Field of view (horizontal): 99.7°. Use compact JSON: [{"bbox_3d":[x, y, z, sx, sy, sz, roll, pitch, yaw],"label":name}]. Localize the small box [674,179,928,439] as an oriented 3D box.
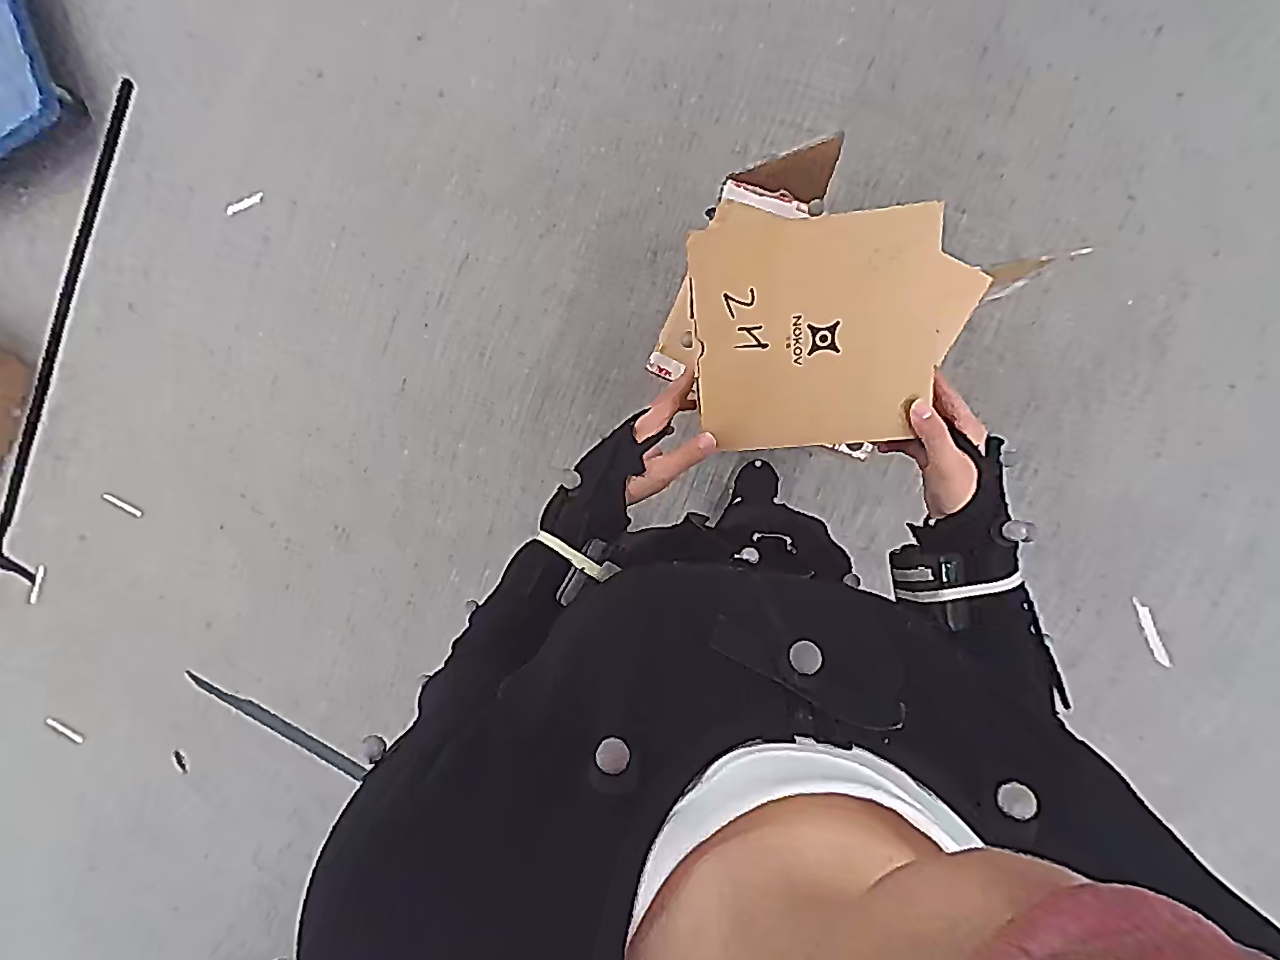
[{"bbox_3d":[0.127,-0.142,0.471,0.179,0.176,0.168,-6,106,9],"label":"small box"}]
